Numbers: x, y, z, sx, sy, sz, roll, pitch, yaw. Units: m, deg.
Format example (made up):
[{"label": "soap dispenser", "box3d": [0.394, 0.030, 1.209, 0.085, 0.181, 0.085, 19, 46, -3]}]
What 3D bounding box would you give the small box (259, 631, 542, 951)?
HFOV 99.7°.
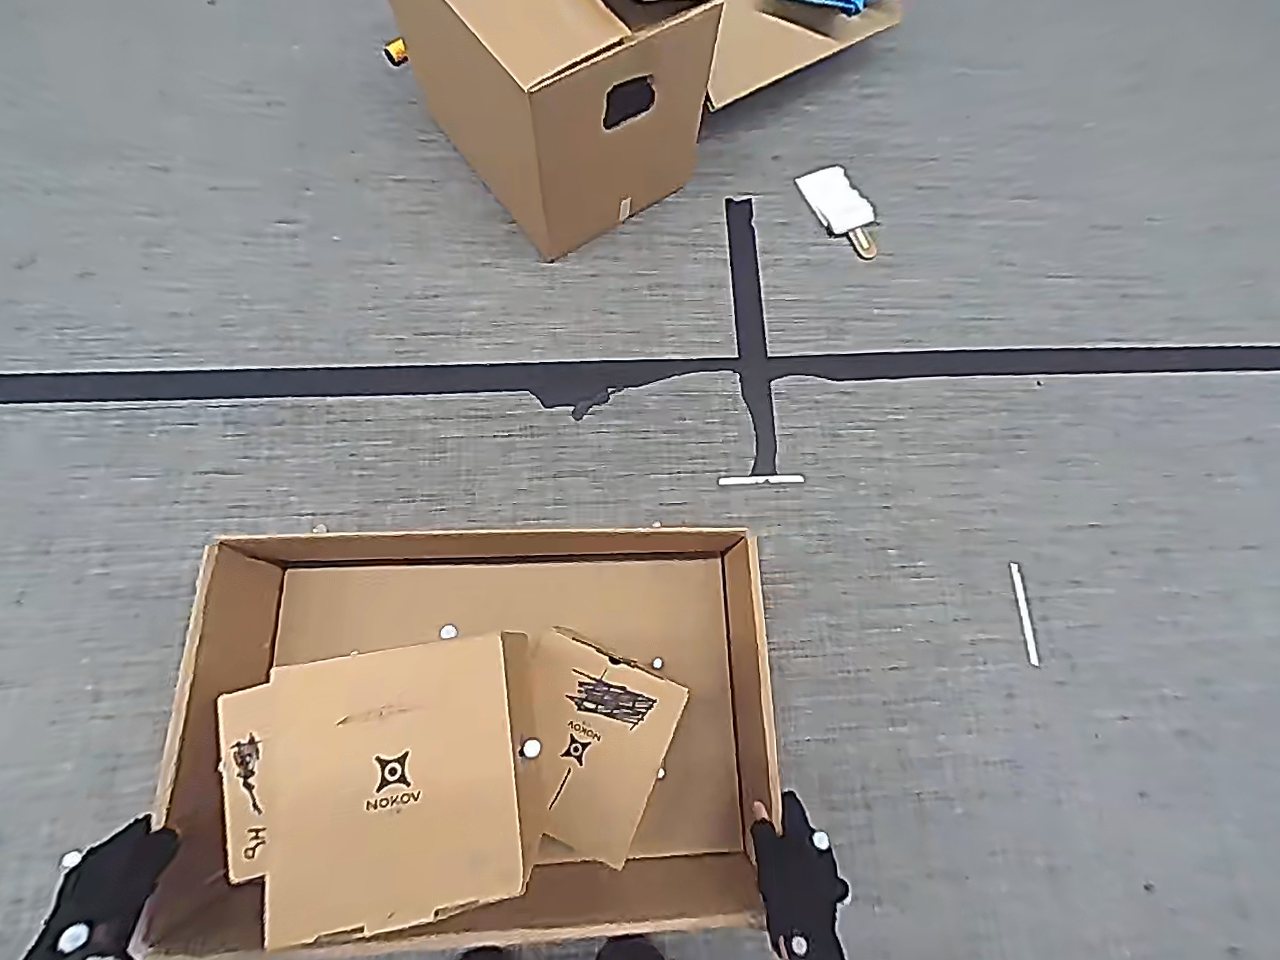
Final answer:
[{"label": "small box", "box3d": [-0.177, 0.226, 0.447, 0.168, 0.176, 0.179, -8, 73, -8]}]
